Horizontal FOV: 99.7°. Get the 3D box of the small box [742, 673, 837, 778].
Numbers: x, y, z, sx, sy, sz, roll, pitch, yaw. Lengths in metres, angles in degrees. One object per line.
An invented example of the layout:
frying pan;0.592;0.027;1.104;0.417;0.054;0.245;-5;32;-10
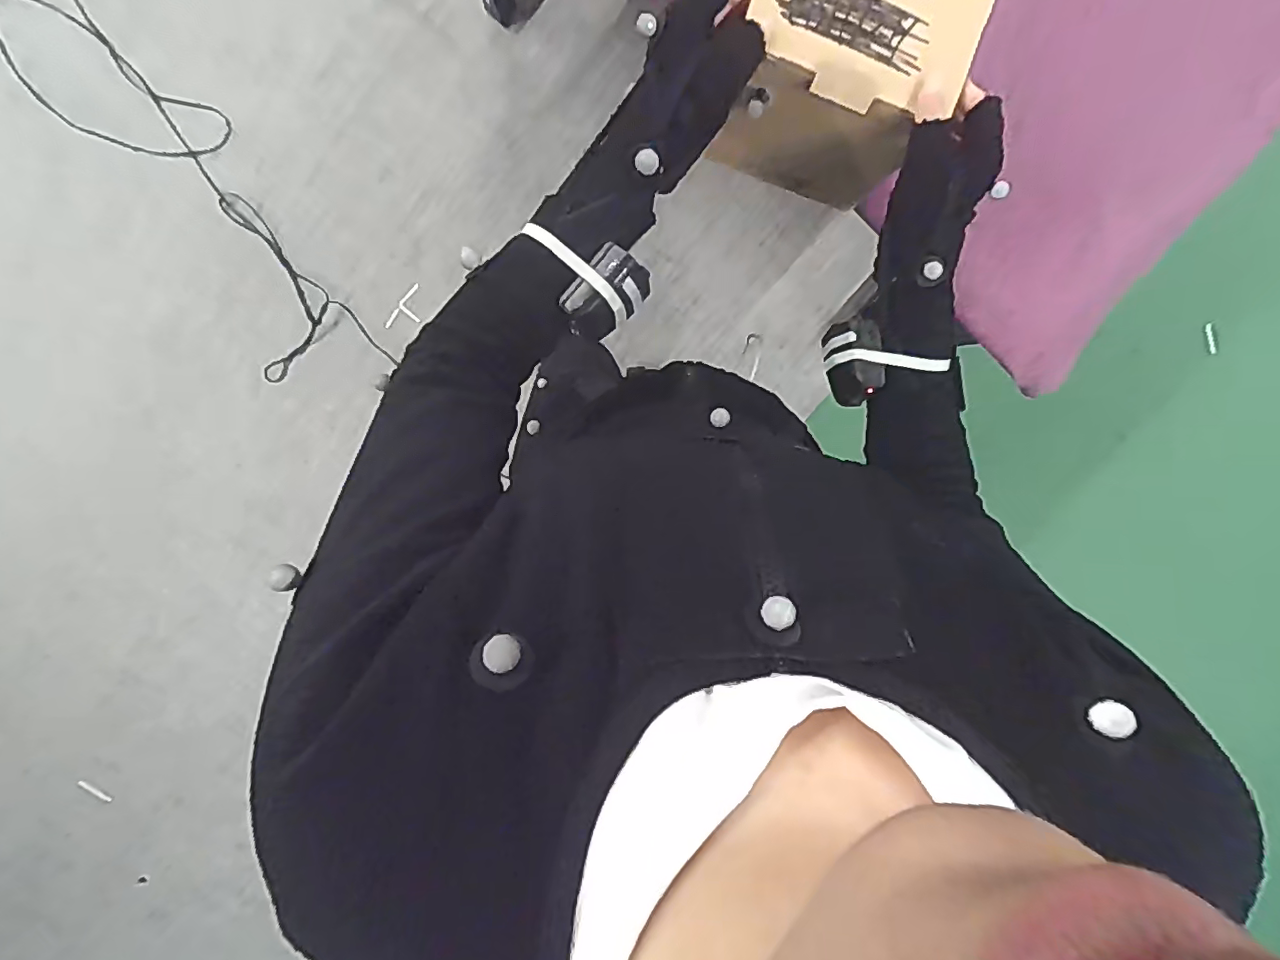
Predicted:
small box;0.416;0.687;1.531;0.179;0.176;0.168;41;97;-8
